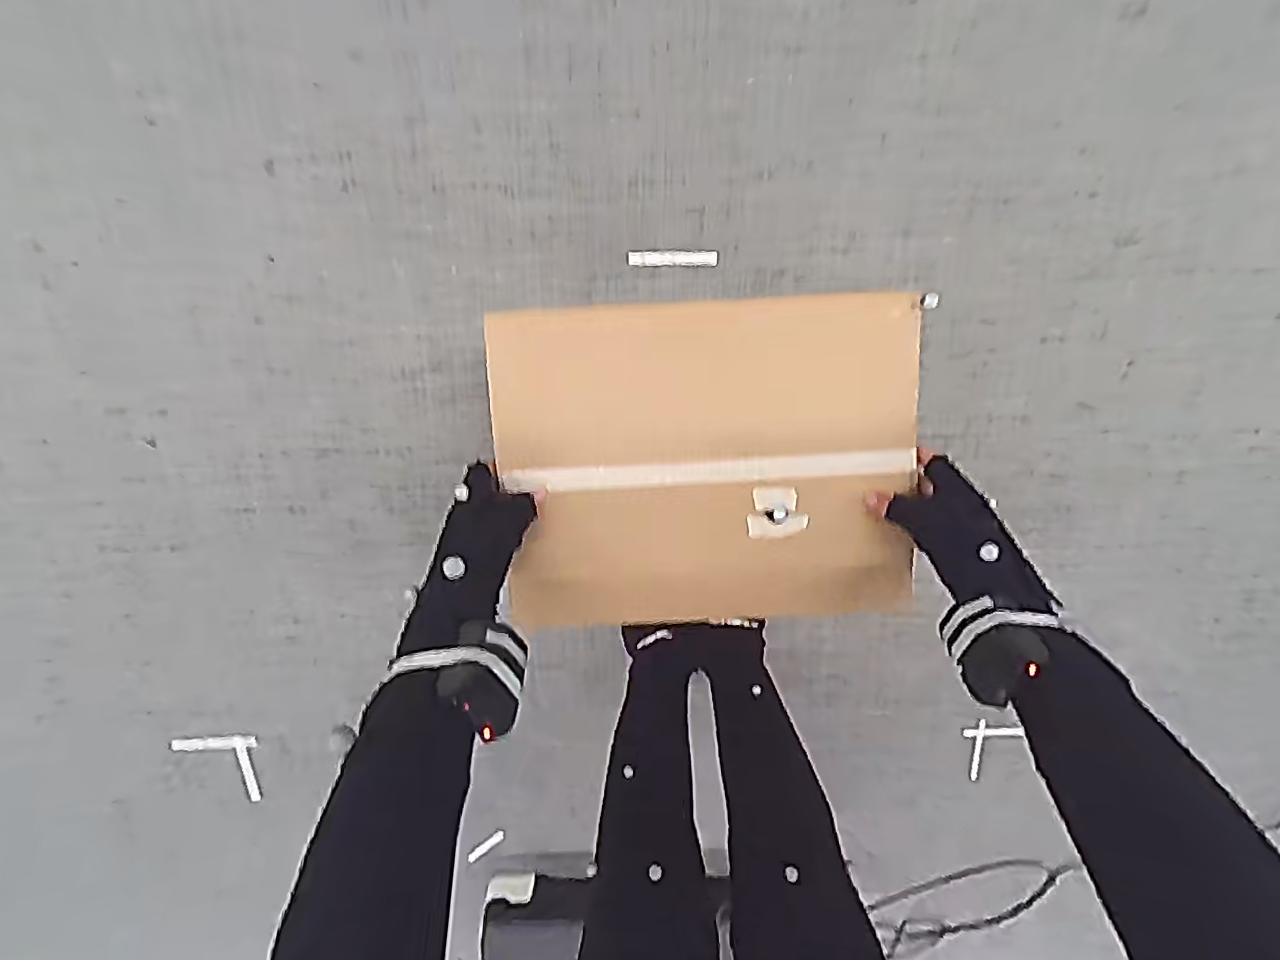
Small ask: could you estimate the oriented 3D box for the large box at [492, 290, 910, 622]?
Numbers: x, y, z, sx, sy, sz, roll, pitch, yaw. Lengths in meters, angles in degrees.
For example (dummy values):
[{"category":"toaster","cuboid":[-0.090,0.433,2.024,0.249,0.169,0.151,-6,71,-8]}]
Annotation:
[{"category":"large box","cuboid":[0.064,-0.041,0.682,0.408,0.320,0.320,-3,101,0]}]
